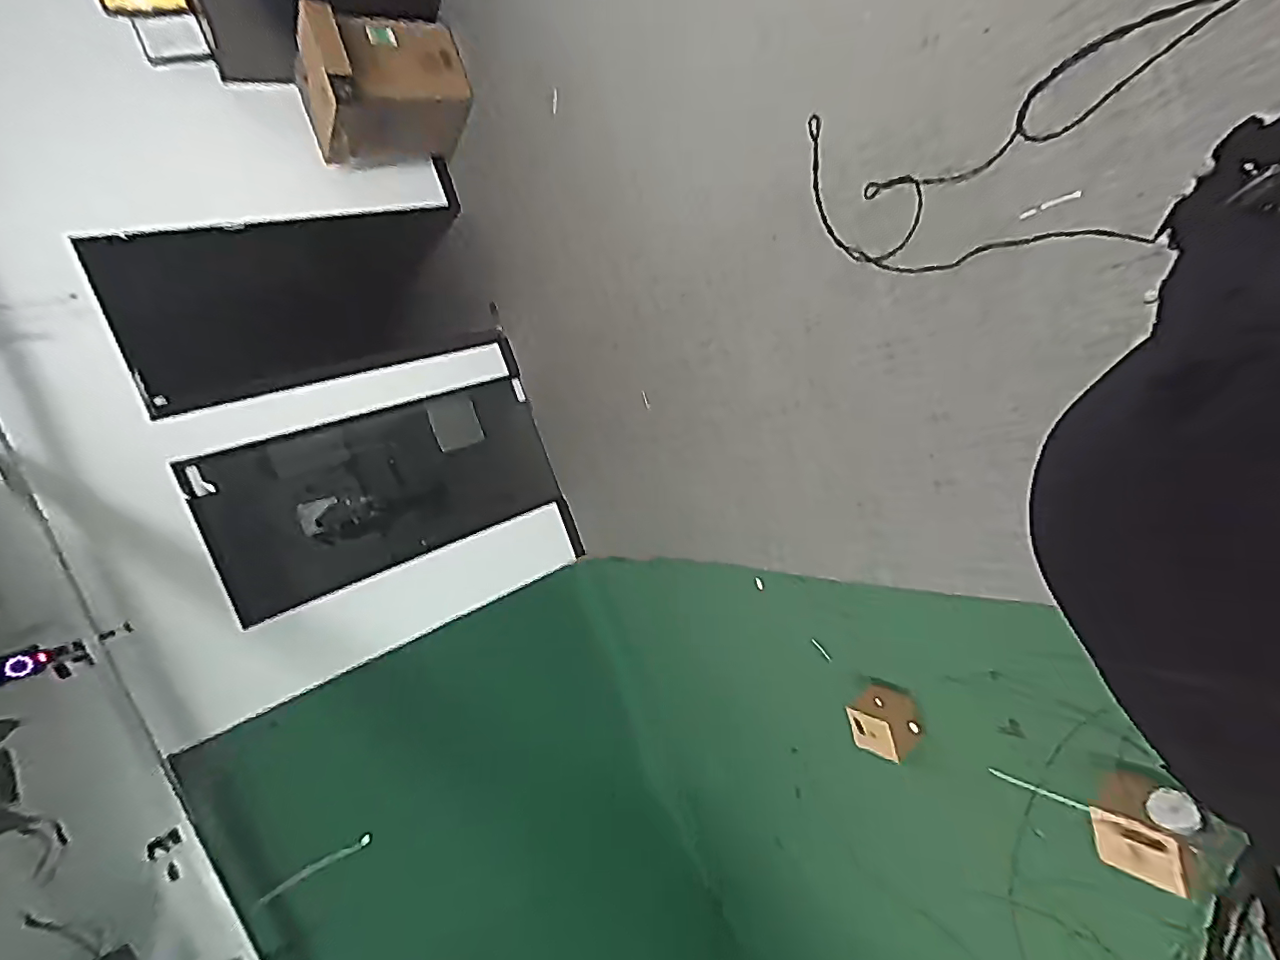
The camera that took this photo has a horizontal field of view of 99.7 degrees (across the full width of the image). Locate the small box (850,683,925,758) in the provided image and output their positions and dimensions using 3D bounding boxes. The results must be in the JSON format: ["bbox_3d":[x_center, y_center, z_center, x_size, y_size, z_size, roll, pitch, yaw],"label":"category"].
[{"bbox_3d":[0.921,0.883,2.008,0.179,0.176,0.168,-3,108,58],"label":"small box"}]
